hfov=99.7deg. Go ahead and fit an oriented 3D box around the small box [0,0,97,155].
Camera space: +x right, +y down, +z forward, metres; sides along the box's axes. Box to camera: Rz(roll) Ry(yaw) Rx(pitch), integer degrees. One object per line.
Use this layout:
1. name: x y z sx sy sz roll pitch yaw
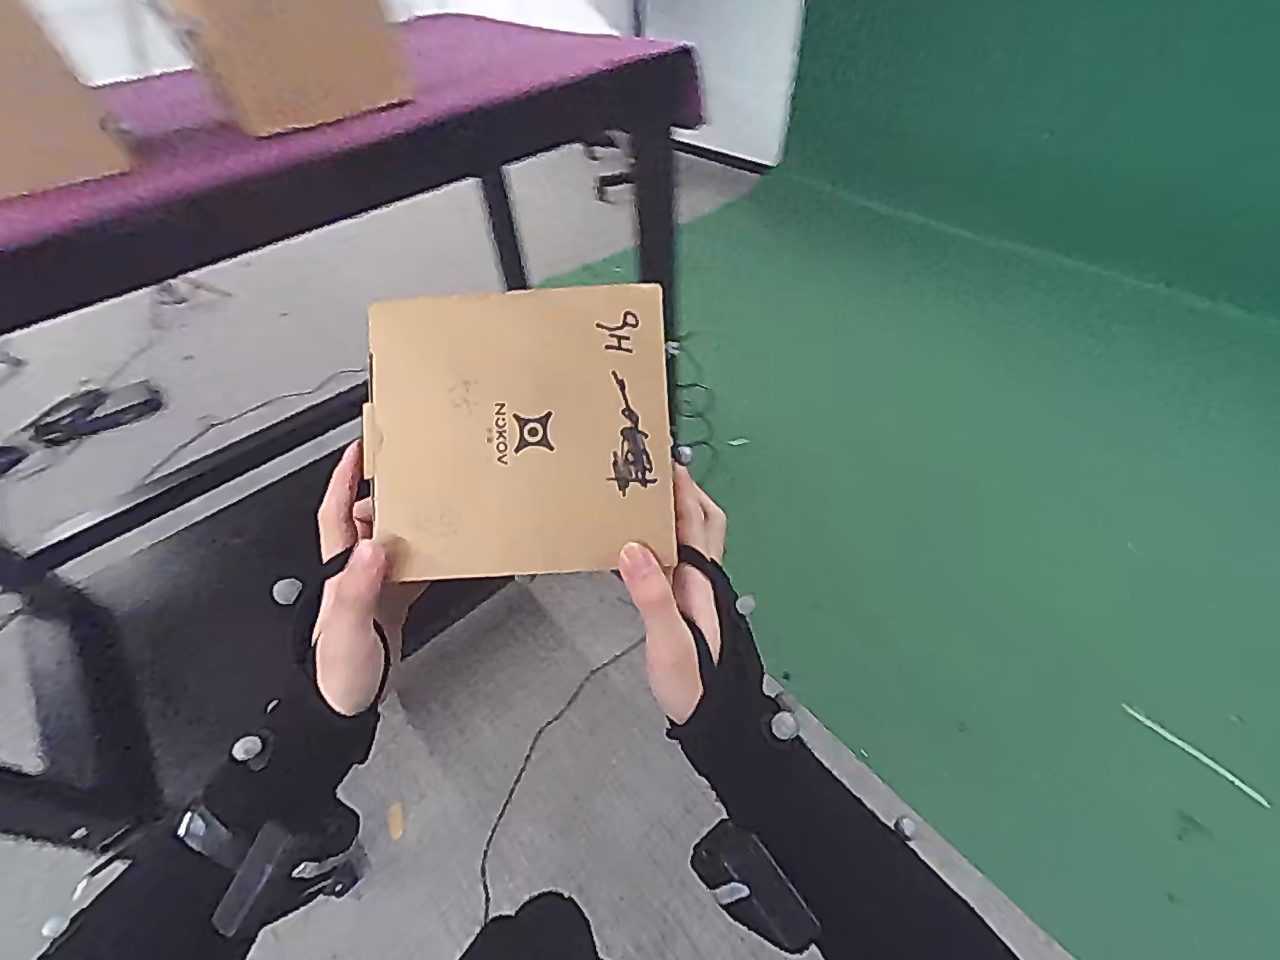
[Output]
1. small box: -0.590 -0.365 0.430 0.179 0.176 0.168 -31 53 -21
